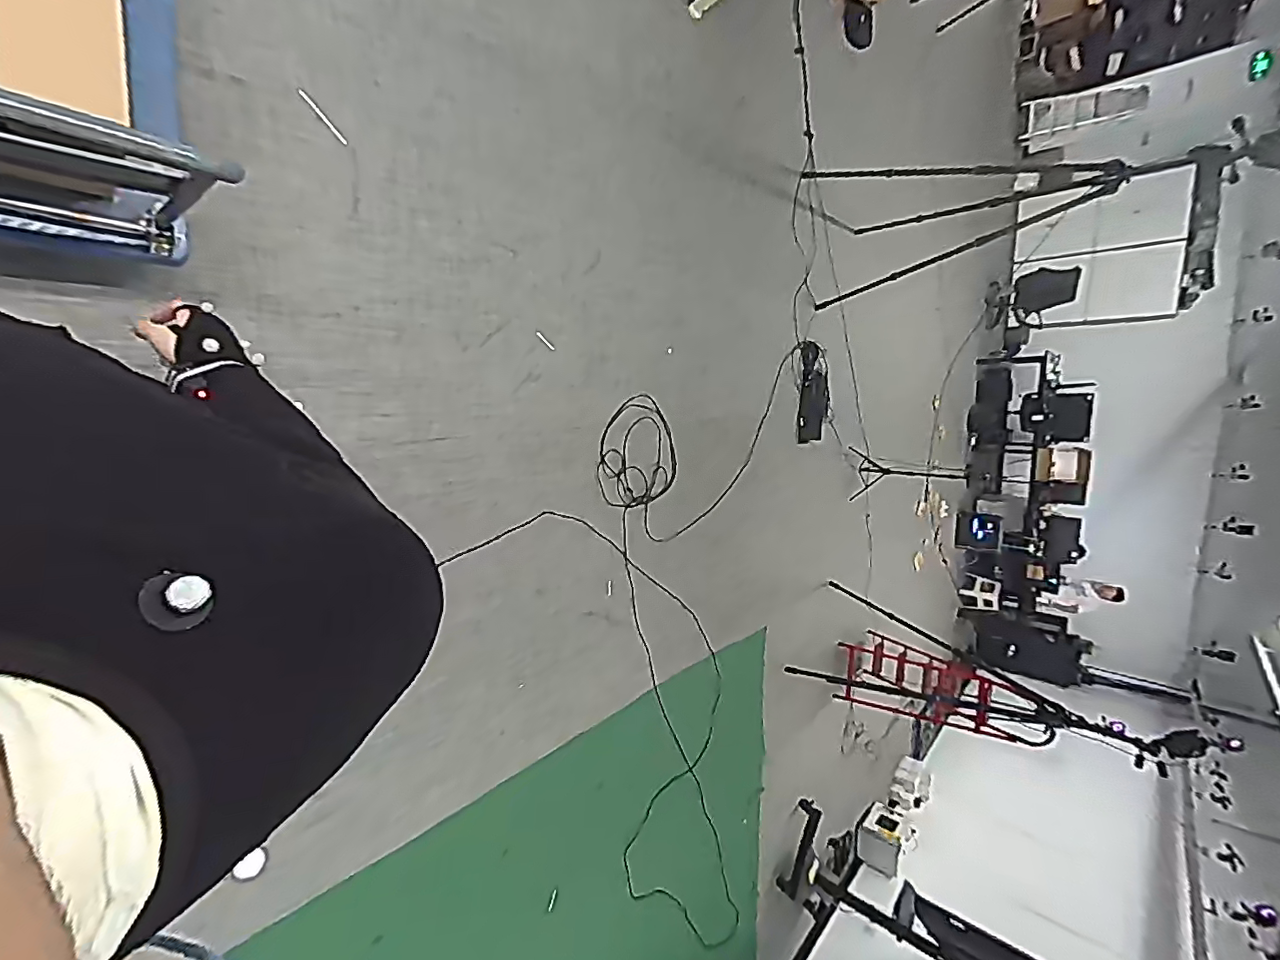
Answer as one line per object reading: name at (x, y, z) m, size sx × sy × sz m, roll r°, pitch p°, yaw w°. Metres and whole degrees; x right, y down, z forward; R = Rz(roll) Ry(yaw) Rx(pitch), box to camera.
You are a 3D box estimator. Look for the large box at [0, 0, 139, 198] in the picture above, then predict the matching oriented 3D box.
large box at (-0.993, -0.708, 0.808) m, size 0.320 × 0.320 × 0.408 m, roll -6°, pitch 99°, yaw -47°
